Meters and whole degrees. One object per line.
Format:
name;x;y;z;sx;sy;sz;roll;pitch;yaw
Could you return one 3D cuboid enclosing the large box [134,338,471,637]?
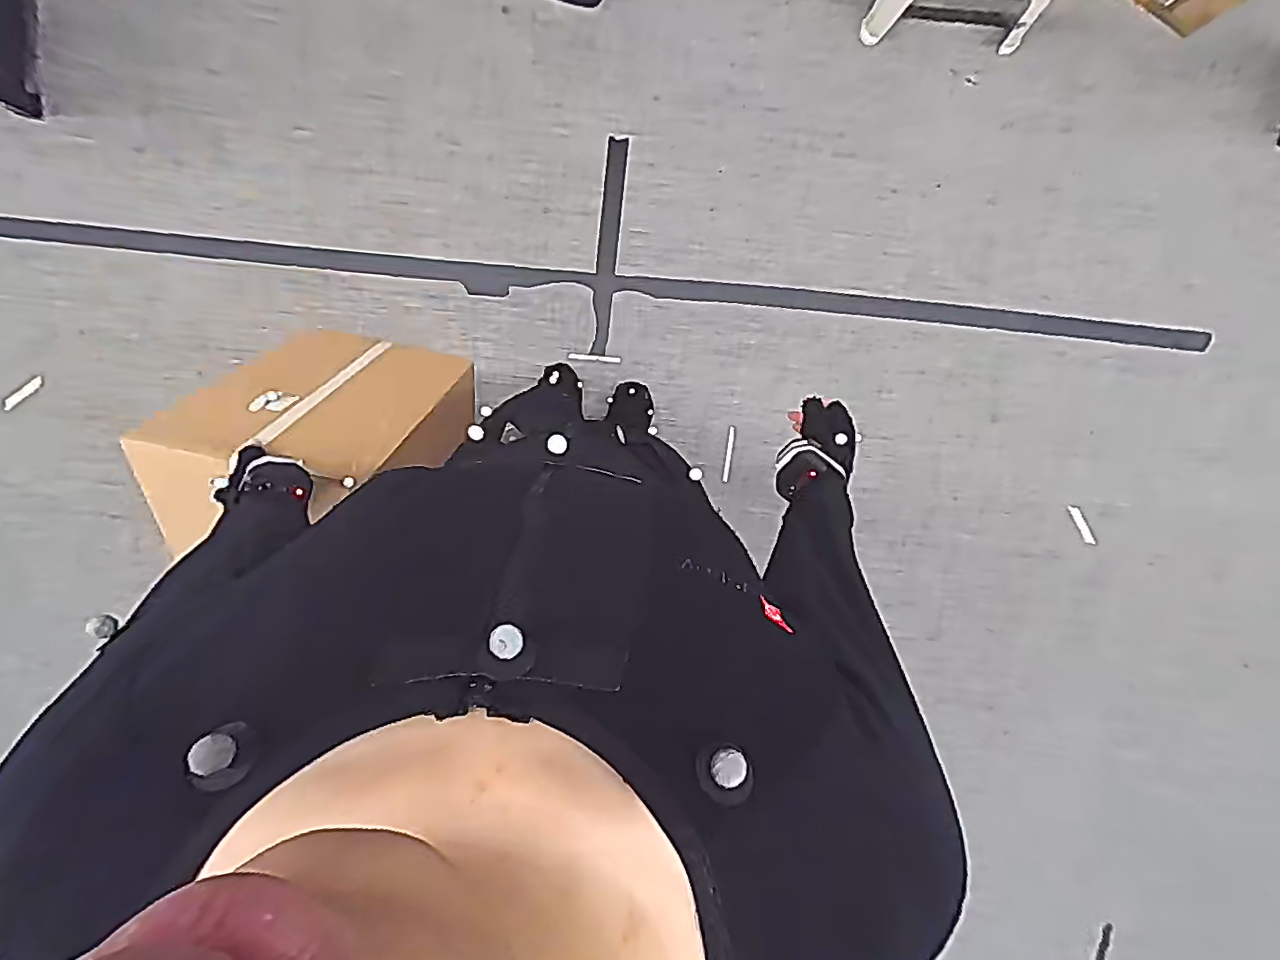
large box;-0.510;-0.005;0.941;0.320;0.408;0.320;10;126;0
